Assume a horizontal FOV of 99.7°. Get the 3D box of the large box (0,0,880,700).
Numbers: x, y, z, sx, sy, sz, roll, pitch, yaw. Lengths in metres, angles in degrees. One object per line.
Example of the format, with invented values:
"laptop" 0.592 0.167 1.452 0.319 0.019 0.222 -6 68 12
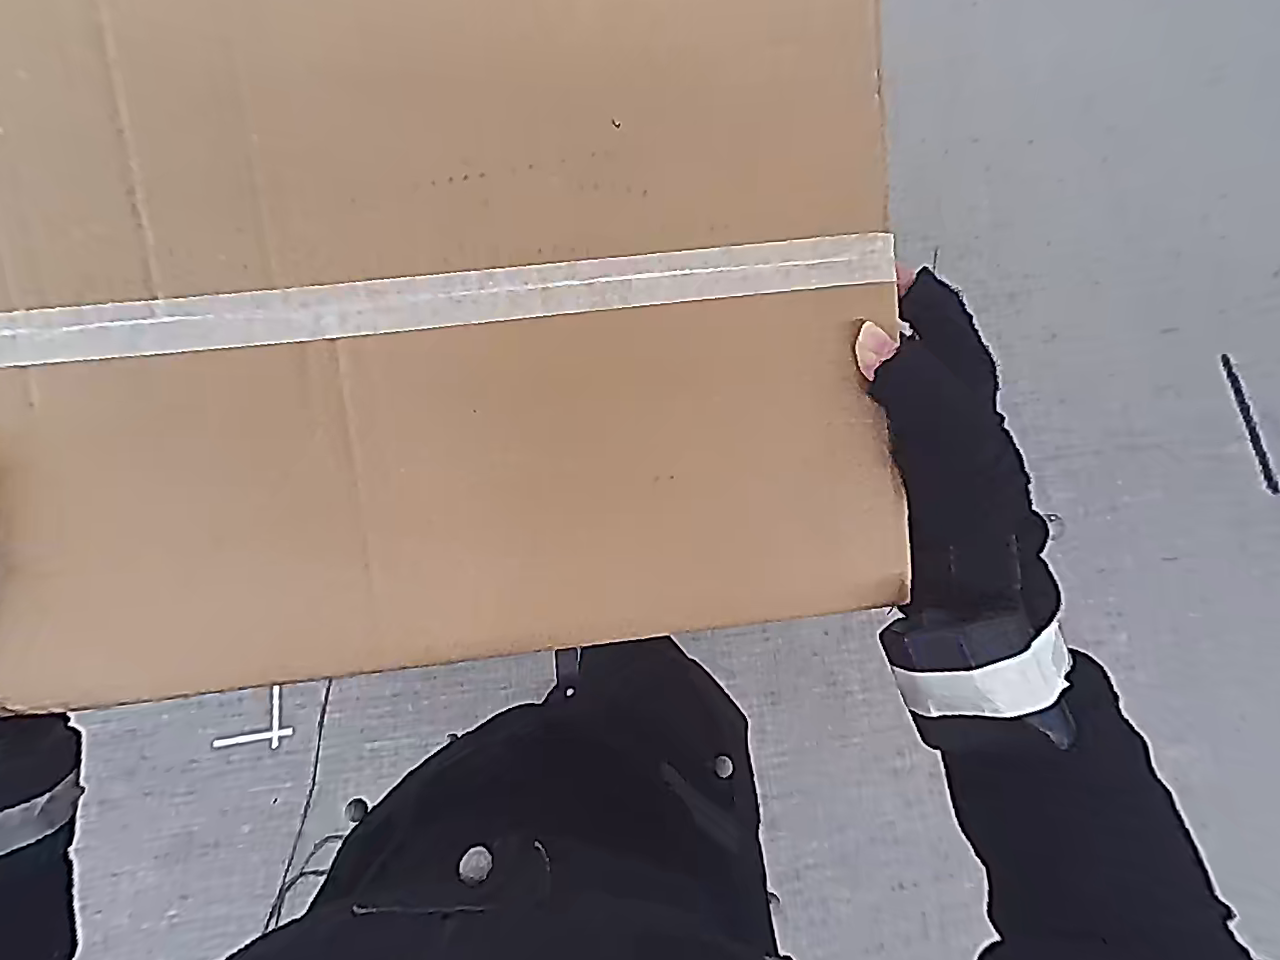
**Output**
"large box" -0.100 -0.089 0.386 0.408 0.320 0.320 -6 96 -4
